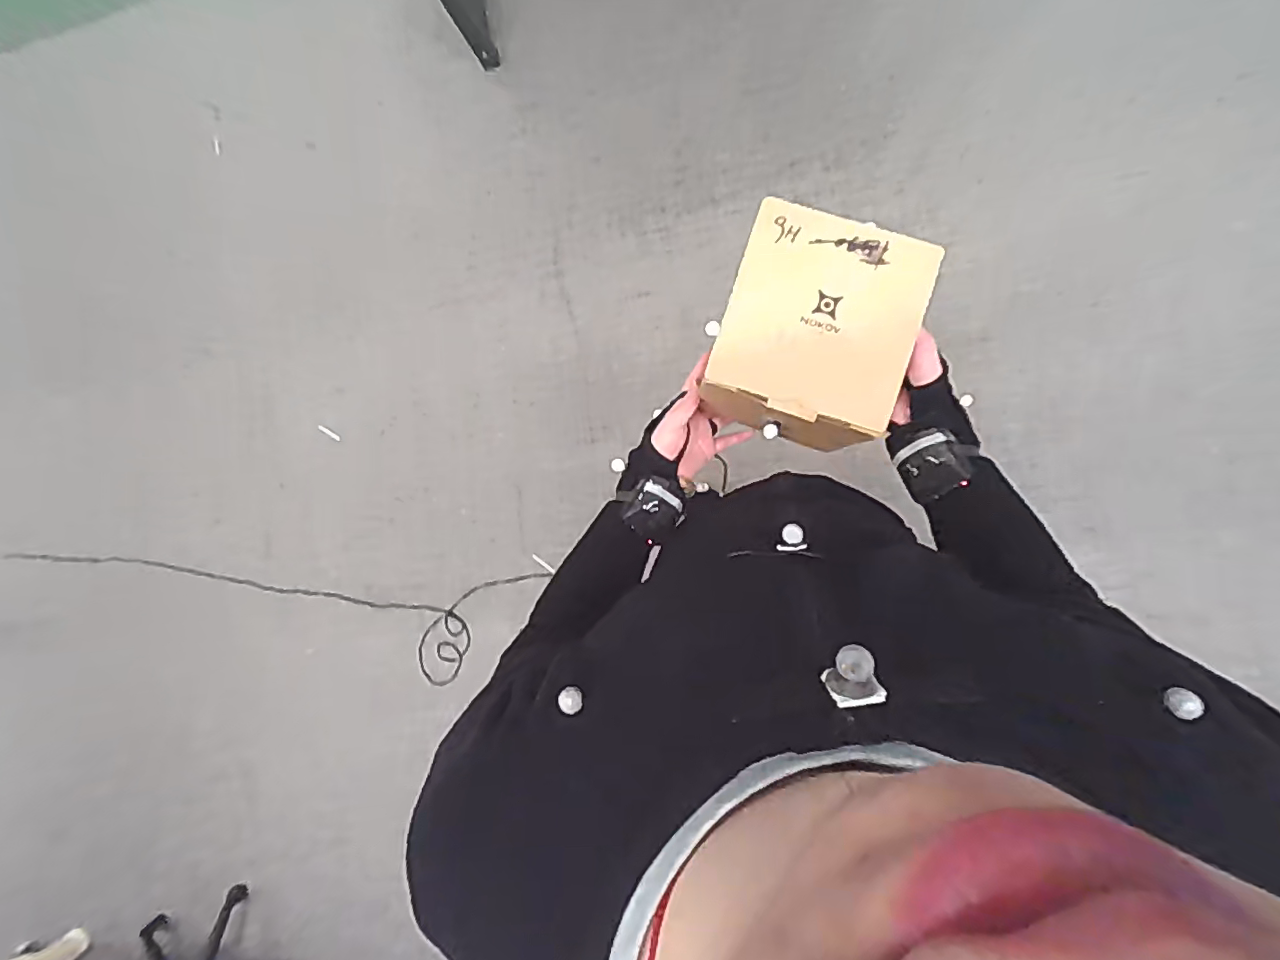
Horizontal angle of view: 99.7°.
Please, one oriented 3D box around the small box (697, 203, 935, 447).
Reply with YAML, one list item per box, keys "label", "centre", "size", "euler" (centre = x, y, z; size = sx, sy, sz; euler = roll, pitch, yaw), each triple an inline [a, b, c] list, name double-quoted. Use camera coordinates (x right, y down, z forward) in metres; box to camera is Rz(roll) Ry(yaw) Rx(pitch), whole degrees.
- label: "small box"
  centre: [0.163, -0.141, 0.560]
  size: [0.168, 0.176, 0.179]
  euler: [18, 90, 4]
